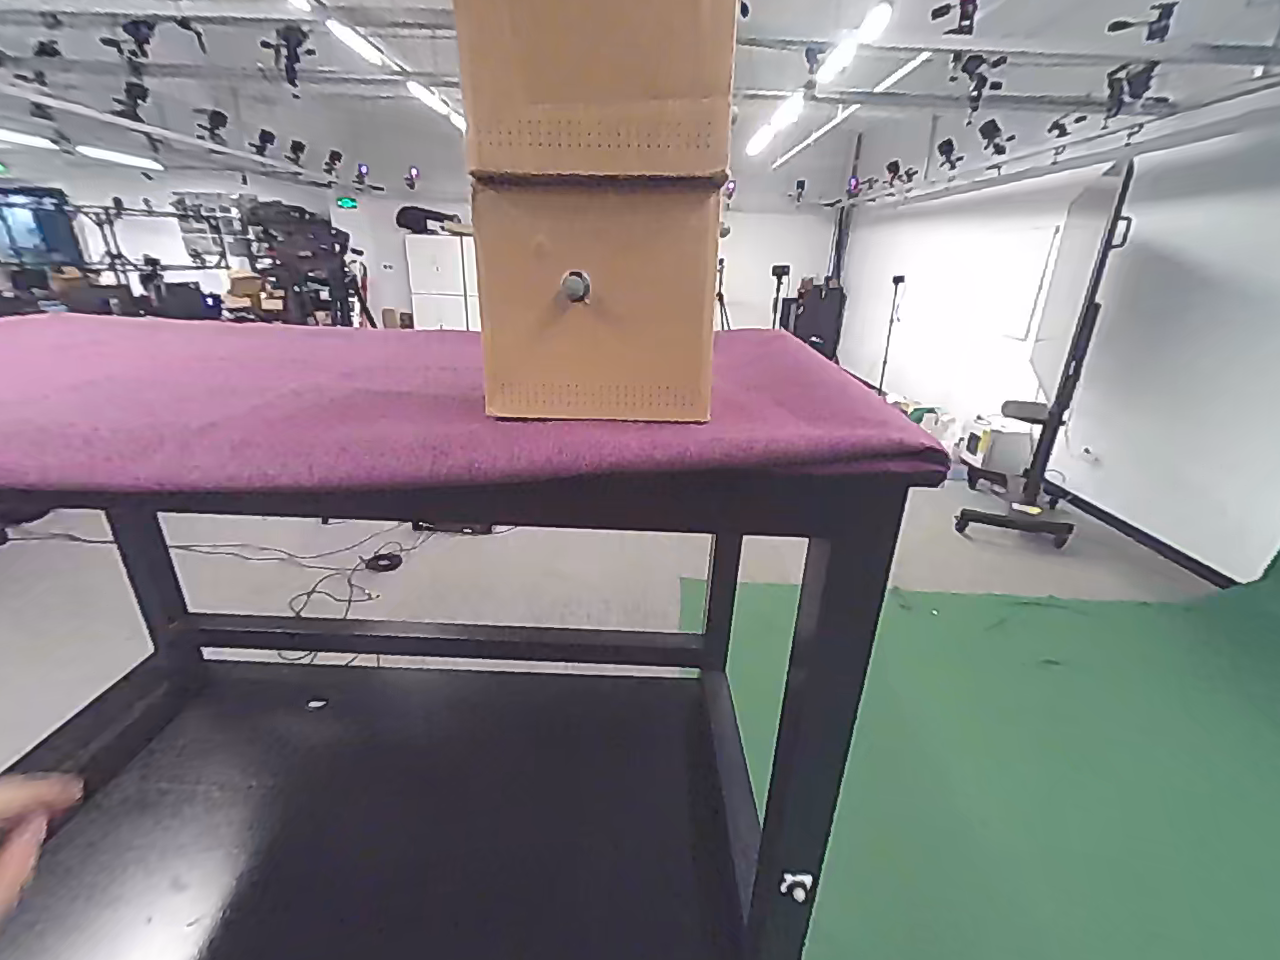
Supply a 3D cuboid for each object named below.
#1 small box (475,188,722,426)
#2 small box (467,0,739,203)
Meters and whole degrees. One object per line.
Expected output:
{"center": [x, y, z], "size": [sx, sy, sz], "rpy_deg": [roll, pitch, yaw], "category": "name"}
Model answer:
{"center": [-0.026, -0.145, 0.471], "size": [0.179, 0.176, 0.168], "rpy_deg": [1, 19, 1], "category": "small box"}
{"center": [-0.023, -0.294, 0.405], "size": [0.179, 0.176, 0.168], "rpy_deg": [2, 19, 1], "category": "small box"}
